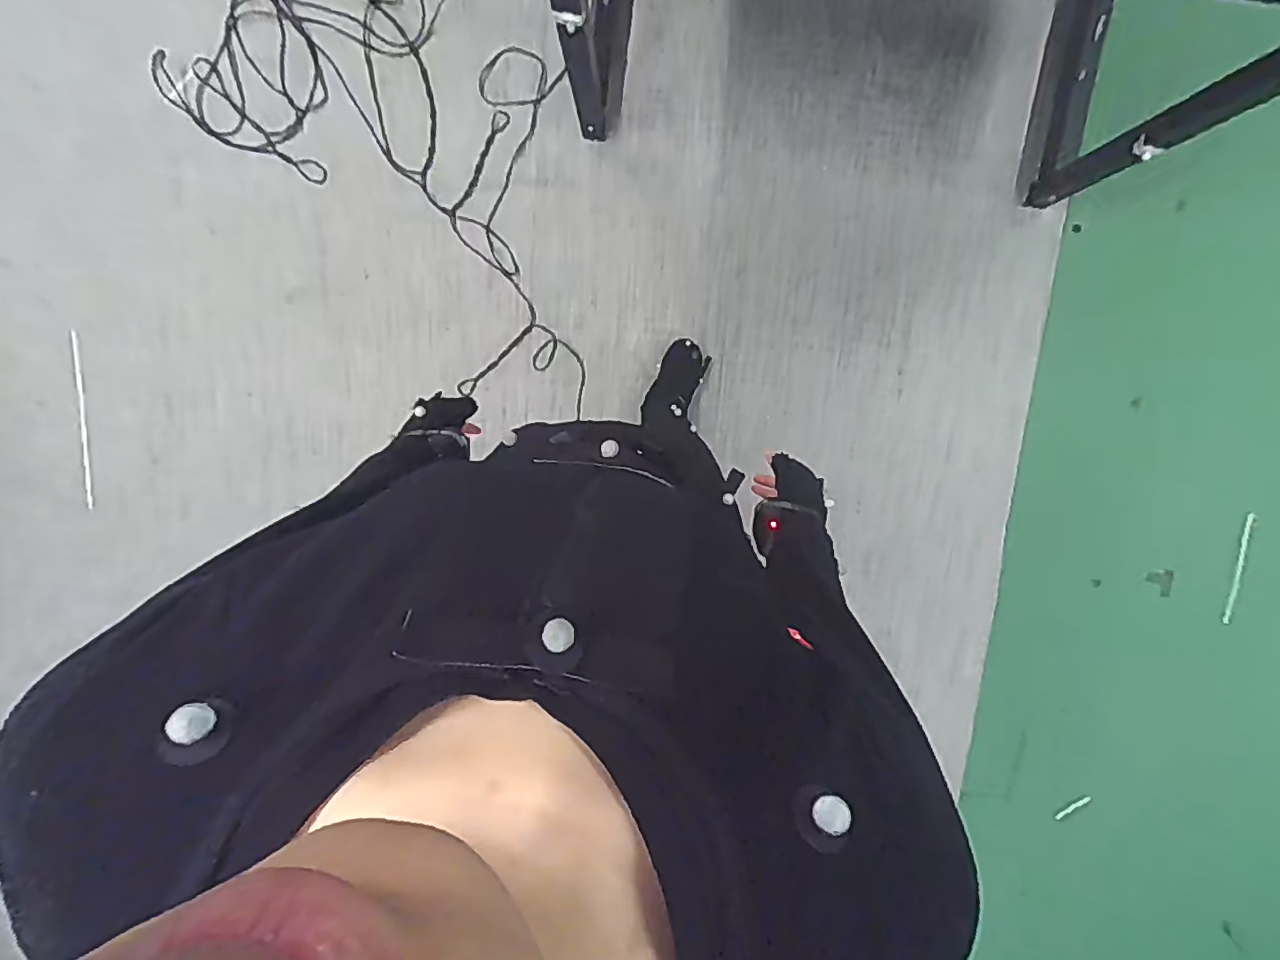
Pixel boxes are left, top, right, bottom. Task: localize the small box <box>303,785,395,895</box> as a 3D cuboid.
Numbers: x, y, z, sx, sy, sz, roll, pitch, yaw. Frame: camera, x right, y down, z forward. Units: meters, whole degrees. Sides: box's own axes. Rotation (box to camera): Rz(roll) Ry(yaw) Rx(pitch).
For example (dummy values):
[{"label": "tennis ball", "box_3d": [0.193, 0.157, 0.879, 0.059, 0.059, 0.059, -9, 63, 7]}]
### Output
[{"label": "small box", "box_3d": [-0.787, 0.978, 1.475, 0.168, 0.176, 0.179, 6, 99, 0]}]
